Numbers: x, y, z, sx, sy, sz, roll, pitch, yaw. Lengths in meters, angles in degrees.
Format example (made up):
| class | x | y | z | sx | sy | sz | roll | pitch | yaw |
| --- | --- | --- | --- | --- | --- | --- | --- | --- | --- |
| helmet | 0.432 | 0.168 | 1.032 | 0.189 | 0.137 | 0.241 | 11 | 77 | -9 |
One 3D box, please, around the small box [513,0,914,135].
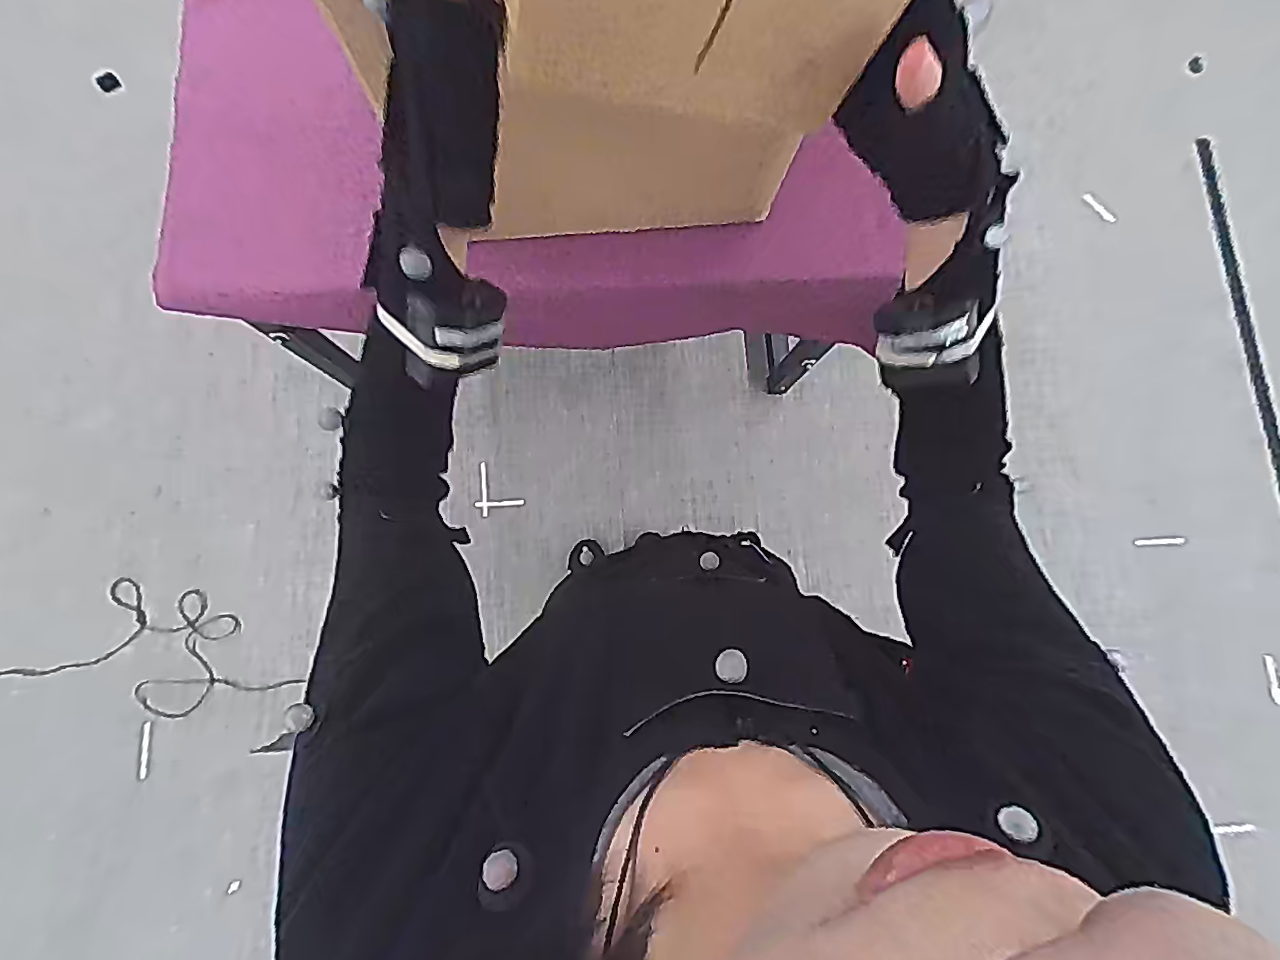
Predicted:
| class | x | y | z | sx | sy | sz | roll | pitch | yaw |
| --- | --- | --- | --- | --- | --- | --- | --- | --- | --- |
| small box | 0.029 | -0.280 | 0.208 | 0.168 | 0.179 | 0.176 | -7 | 69 | -22 |
